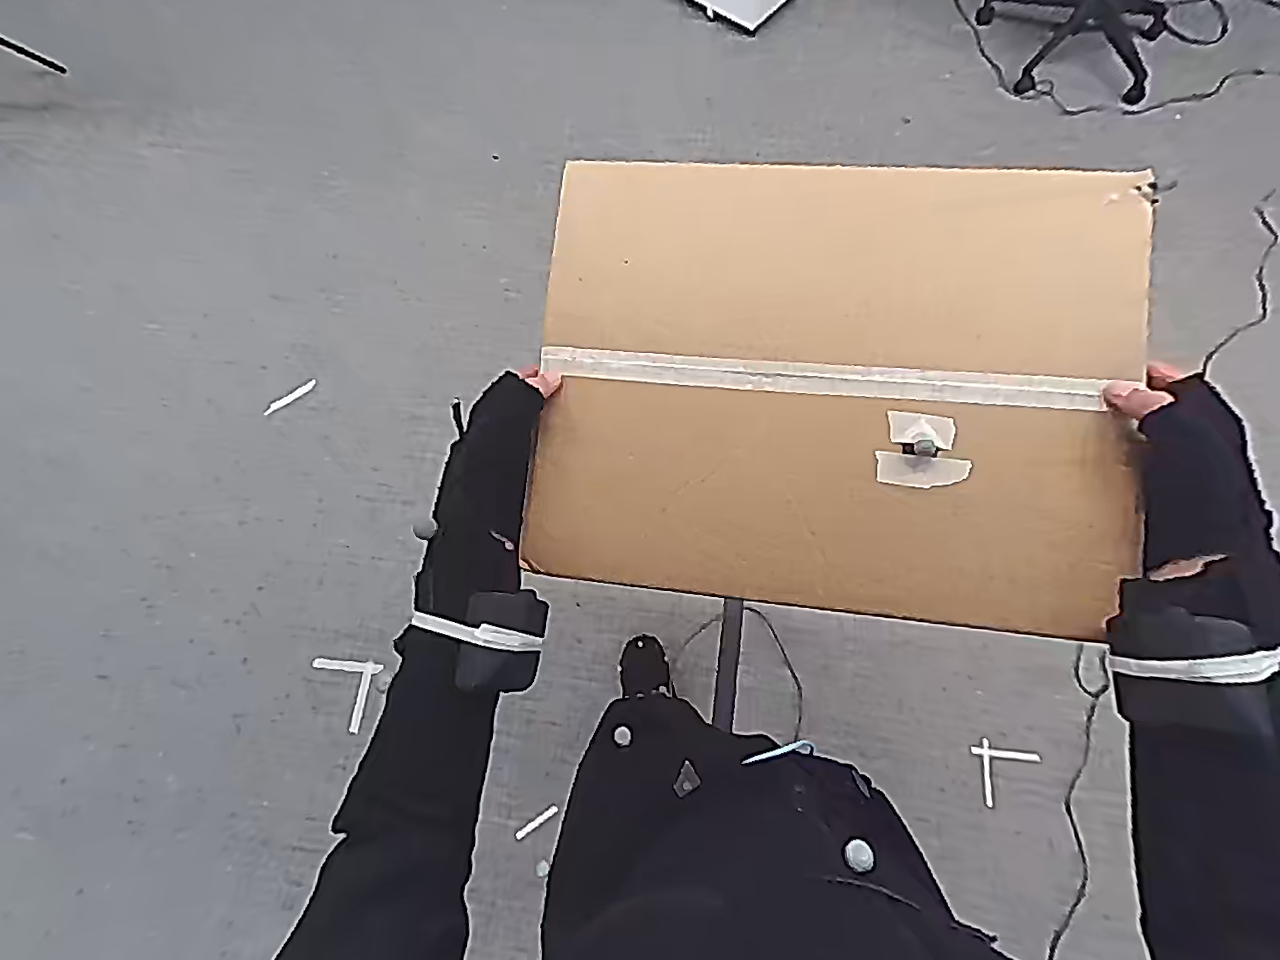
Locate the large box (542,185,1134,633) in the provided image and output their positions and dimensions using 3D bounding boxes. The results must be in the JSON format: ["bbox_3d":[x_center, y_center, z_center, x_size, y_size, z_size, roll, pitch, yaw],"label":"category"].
[{"bbox_3d":[0.148,-0.052,0.537,0.408,0.320,0.320,5,87,7],"label":"large box"}]
